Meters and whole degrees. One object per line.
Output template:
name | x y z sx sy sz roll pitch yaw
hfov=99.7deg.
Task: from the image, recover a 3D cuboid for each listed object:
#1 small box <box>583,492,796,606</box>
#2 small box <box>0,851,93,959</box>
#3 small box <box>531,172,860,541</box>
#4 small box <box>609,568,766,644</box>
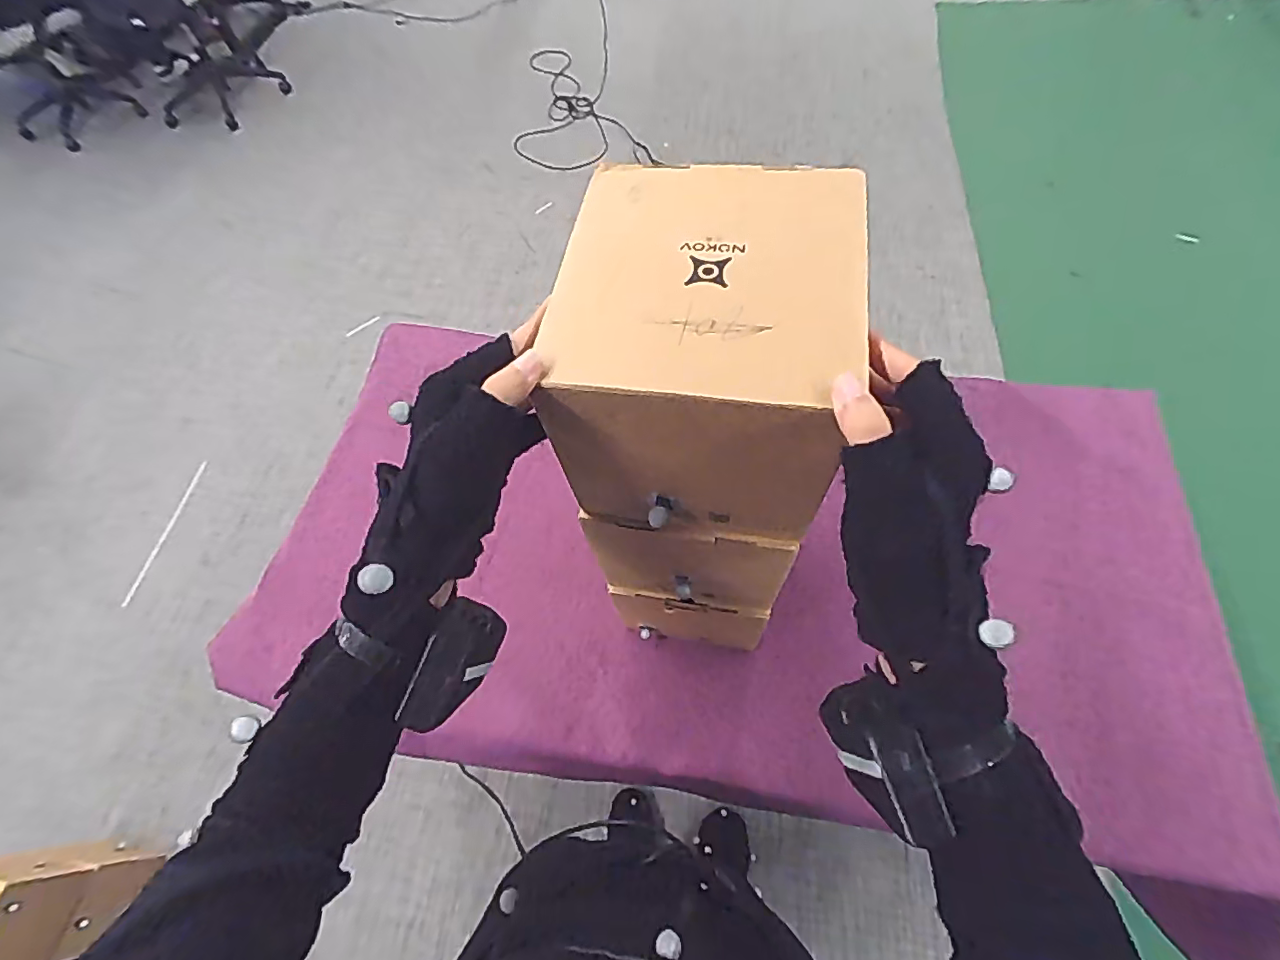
small box | 0.057 0.002 0.515 0.168 0.176 0.179 7 63 10
small box | -1.218 0.829 1.022 0.168 0.176 0.179 5 62 8
small box | 0.044 -0.077 0.373 0.168 0.176 0.179 7 64 10
small box | 0.070 0.087 0.654 0.168 0.176 0.179 8 62 10
